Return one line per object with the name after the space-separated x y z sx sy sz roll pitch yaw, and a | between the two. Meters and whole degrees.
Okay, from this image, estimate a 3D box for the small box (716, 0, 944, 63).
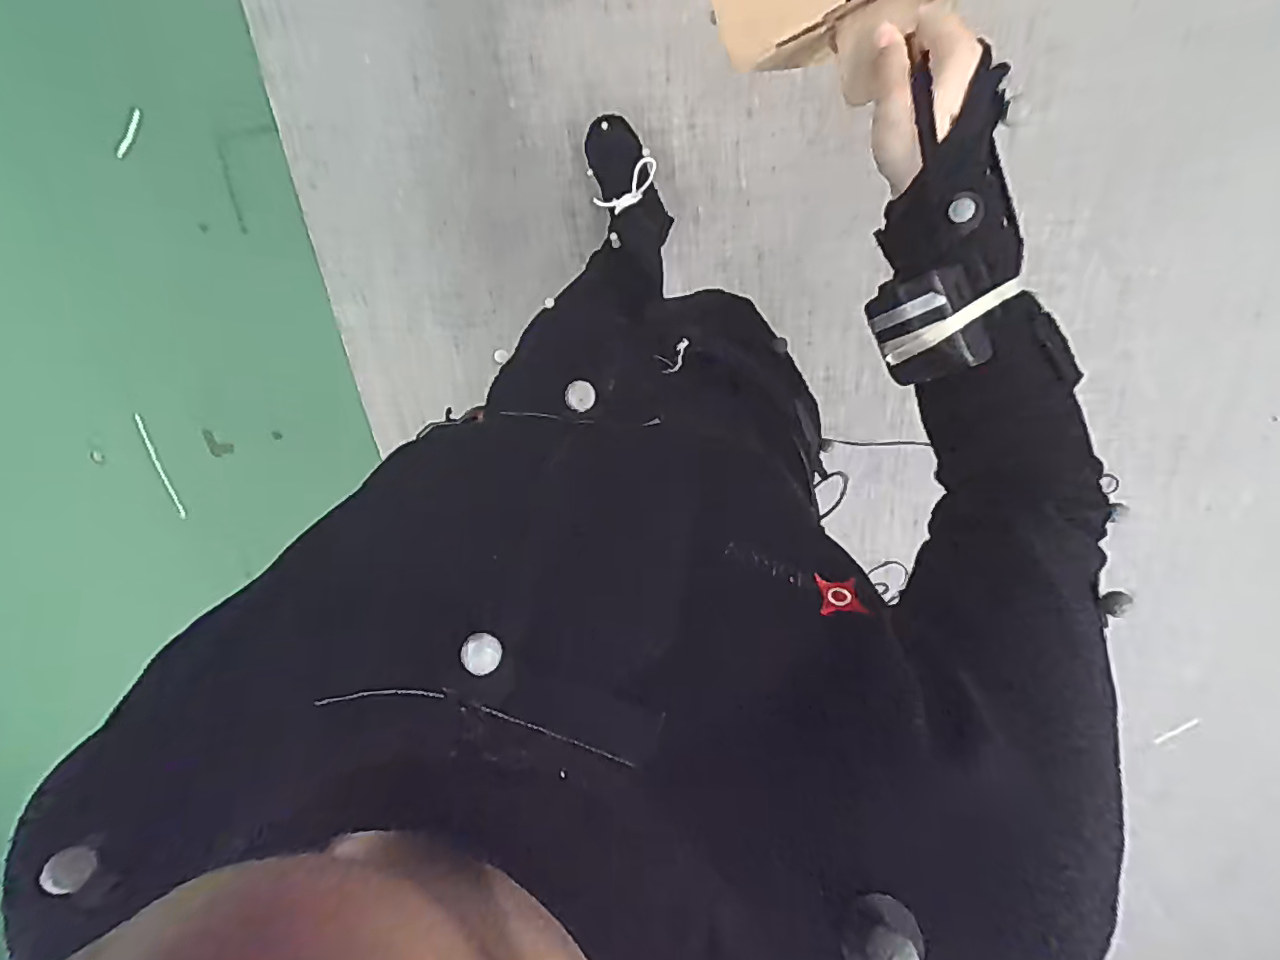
0.136 -0.385 0.322 0.168 0.176 0.179 -3 121 38 | small box
